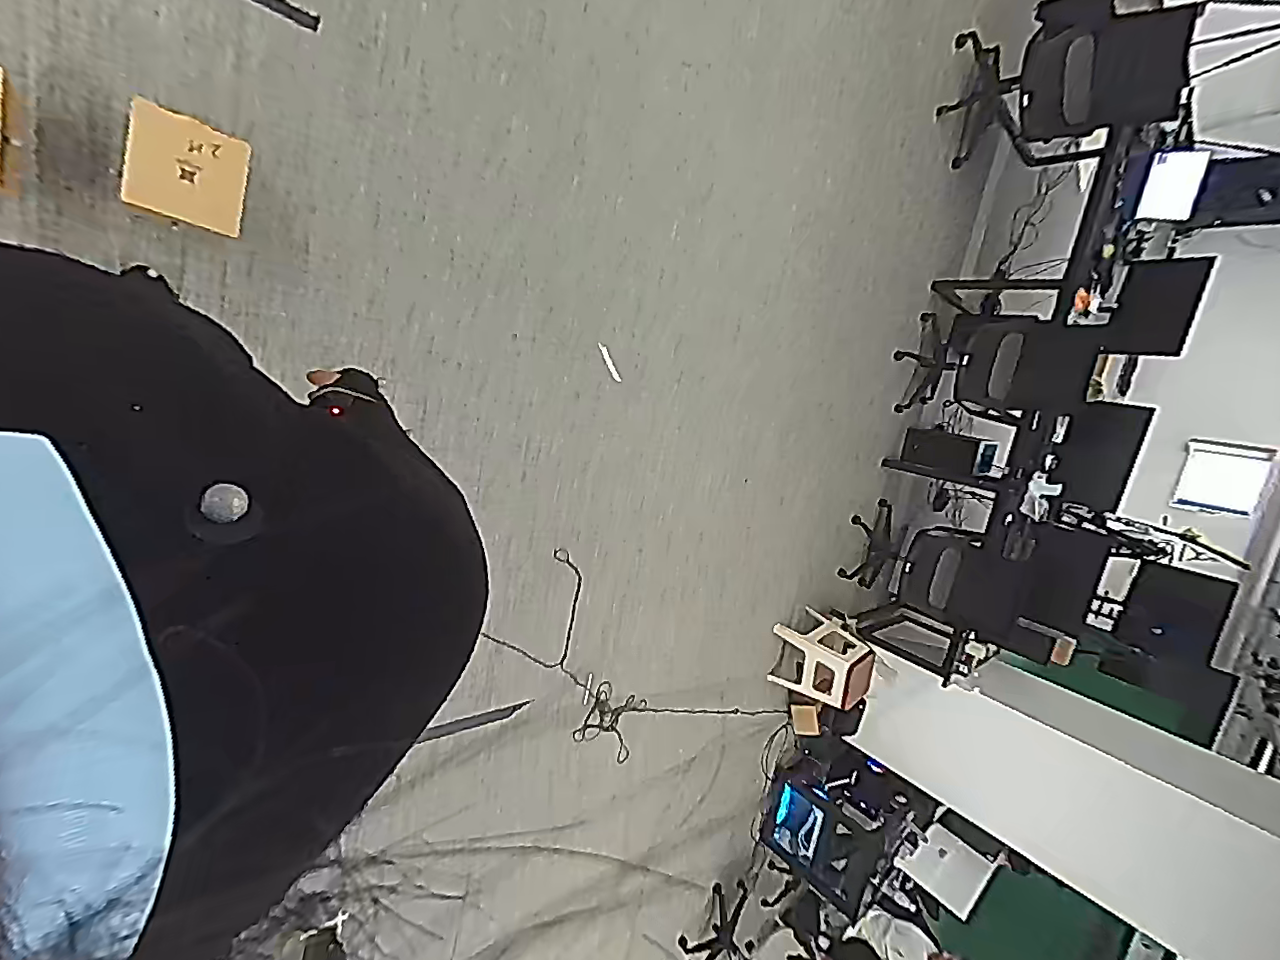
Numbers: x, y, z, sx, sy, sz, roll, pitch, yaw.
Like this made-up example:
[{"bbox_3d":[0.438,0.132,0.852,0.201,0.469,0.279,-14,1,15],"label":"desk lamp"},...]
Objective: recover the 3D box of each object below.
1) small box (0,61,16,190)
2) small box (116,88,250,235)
[{"bbox_3d":[-1.077,-0.565,0.812,0.168,0.176,0.179,4,102,-44],"label":"small box"},{"bbox_3d":[-0.855,-0.577,1.012,0.168,0.176,0.179,8,99,-45],"label":"small box"}]
